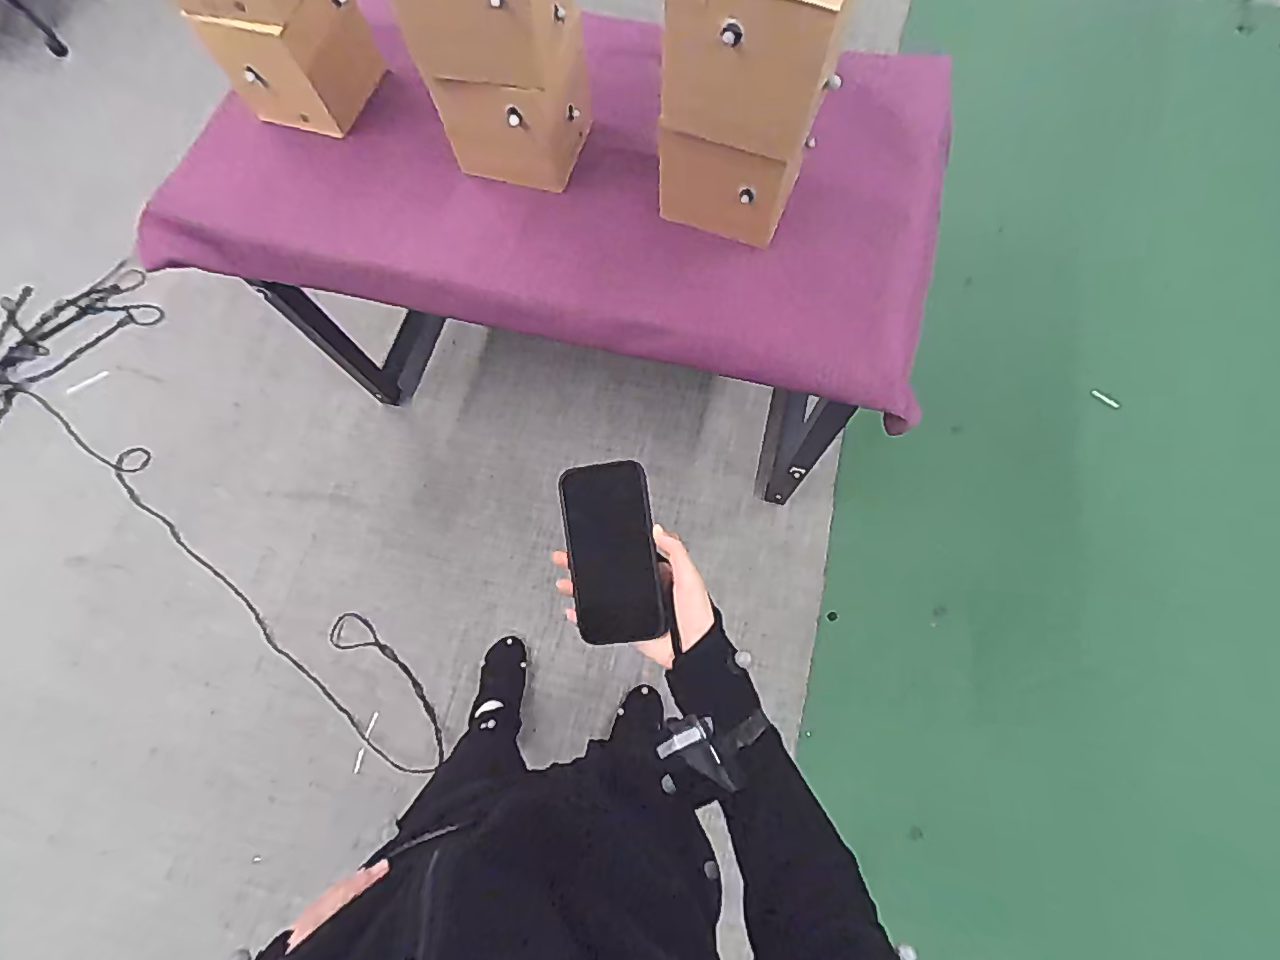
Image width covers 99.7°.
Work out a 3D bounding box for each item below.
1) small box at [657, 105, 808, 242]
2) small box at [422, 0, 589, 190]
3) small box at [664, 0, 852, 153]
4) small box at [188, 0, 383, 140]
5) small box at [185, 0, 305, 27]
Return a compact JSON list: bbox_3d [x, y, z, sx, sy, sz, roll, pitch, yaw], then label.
[{"bbox_3d":[0.136,-0.474,0.772,0.179,0.176,0.168,21,73,10],"label":"small box"},{"bbox_3d":[-0.186,-0.576,0.818,0.179,0.176,0.168,15,73,7],"label":"small box"},{"bbox_3d":[0.133,-0.511,0.611,0.179,0.176,0.168,21,73,9],"label":"small box"},{"bbox_3d":[-0.554,-0.695,0.876,0.168,0.176,0.179,16,73,8],"label":"small box"},{"bbox_3d":[-0.559,-0.755,0.722,0.168,0.176,0.179,11,73,5],"label":"small box"}]
